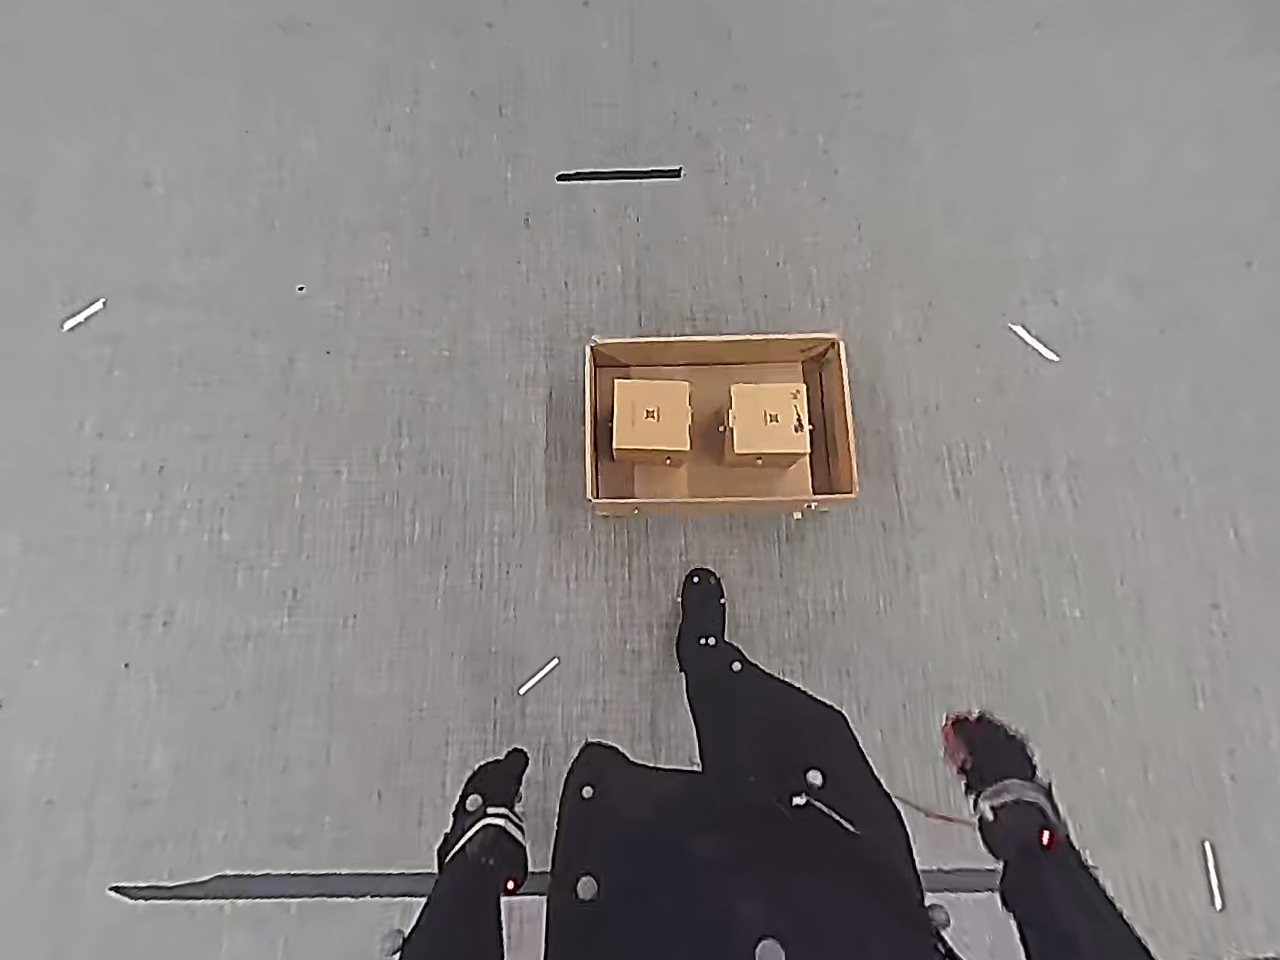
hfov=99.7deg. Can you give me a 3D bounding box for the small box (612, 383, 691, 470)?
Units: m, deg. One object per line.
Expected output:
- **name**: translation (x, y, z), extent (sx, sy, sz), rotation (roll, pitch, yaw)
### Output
- **small box**: translation (0.025, -0.123, 1.304), extent (0.179, 0.176, 0.168), rotation (1, 78, -1)

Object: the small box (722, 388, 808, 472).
- **small box**: translation (0.292, -0.116, 1.305), extent (0.179, 0.176, 0.168), rotation (-1, 80, 1)
